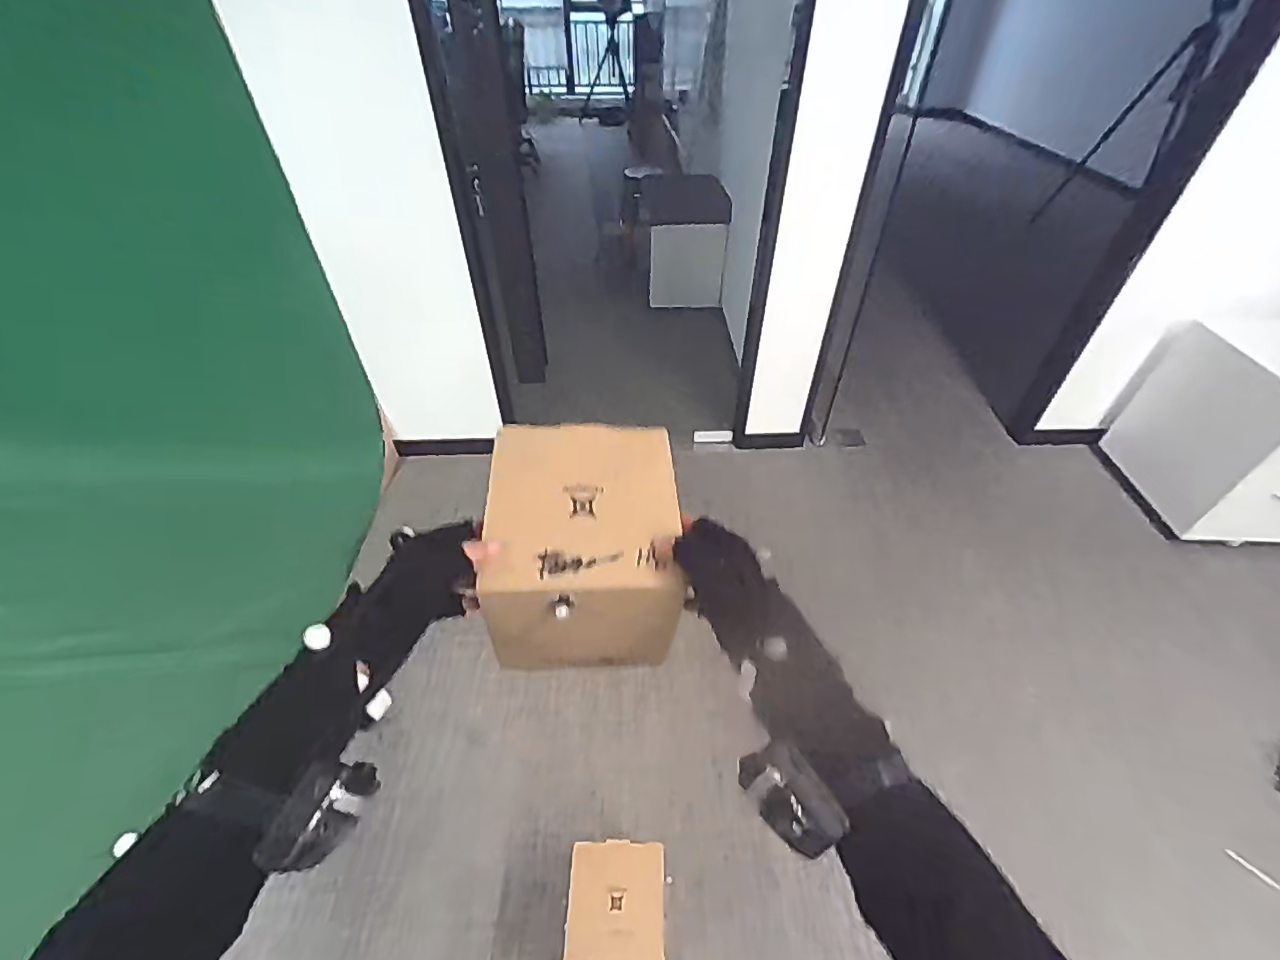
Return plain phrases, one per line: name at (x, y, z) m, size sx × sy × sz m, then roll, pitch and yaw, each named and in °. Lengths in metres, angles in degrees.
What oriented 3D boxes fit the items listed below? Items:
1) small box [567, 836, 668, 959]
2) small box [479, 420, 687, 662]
small box at (-0.035, 0.772, 0.983) m, size 0.168 × 0.176 × 0.179 m, roll -1°, pitch 44°, yaw 1°
small box at (-0.055, 0.061, 0.534) m, size 0.168 × 0.176 × 0.179 m, roll 0°, pitch 49°, yaw -6°
